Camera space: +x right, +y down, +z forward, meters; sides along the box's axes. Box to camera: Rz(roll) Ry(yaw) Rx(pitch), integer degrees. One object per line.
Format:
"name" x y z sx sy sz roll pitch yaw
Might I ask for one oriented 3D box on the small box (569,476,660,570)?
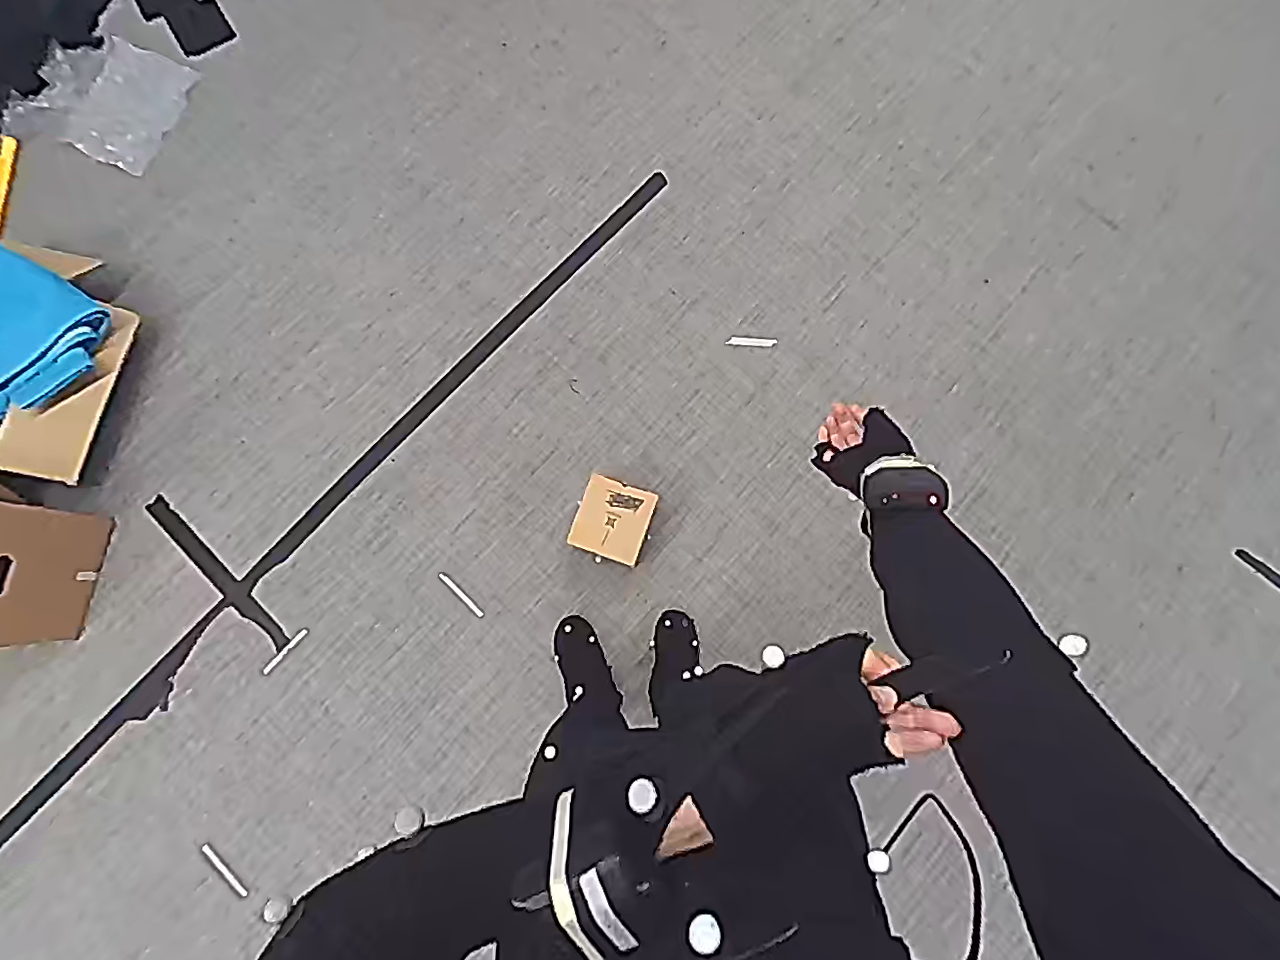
"small box" -0.059 0.110 1.307 0.168 0.176 0.179 20 81 4
